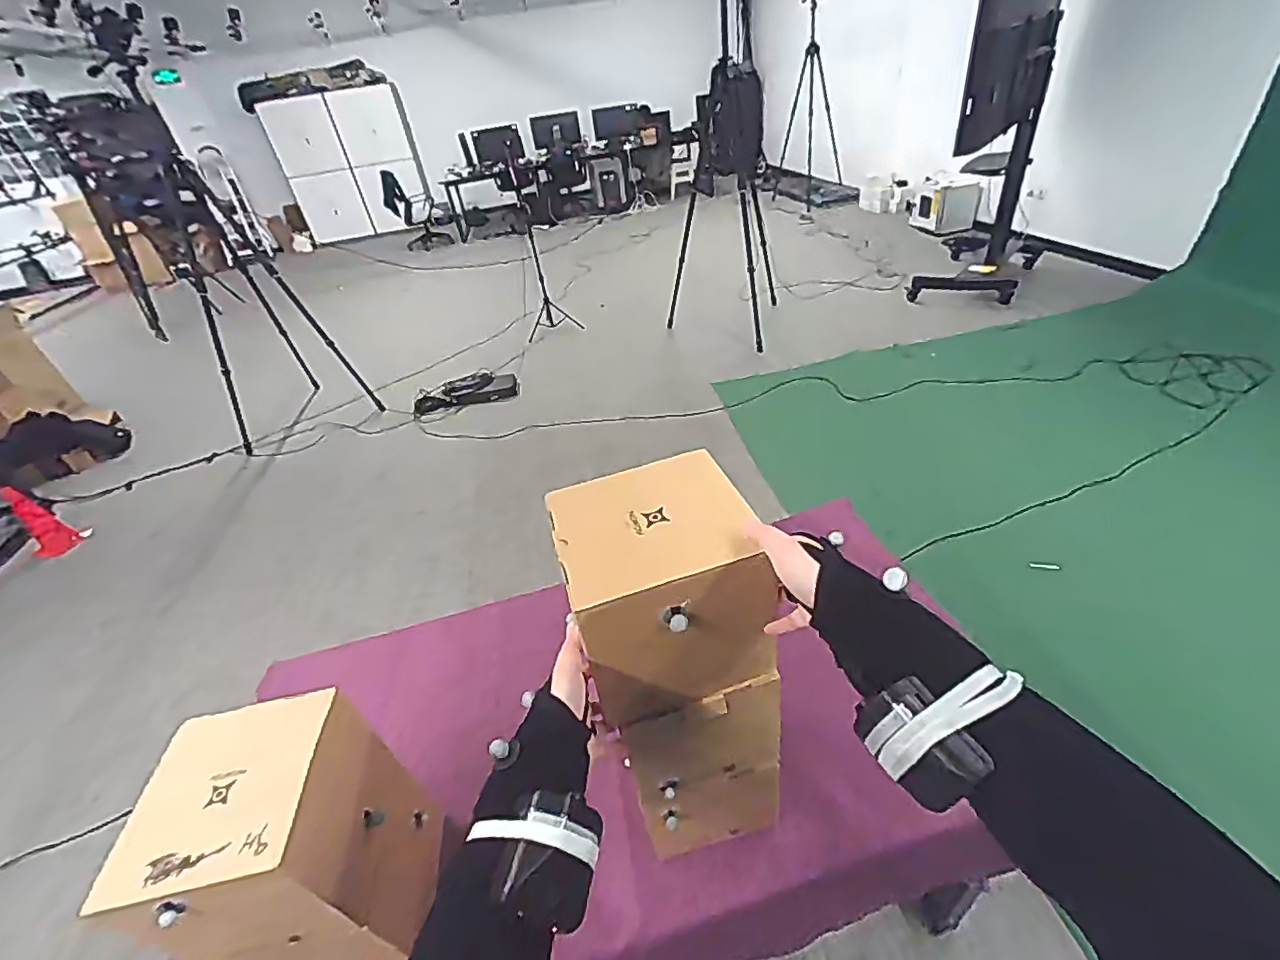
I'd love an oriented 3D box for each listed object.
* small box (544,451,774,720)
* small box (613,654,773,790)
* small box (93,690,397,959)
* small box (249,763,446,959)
[{"bbox_3d":[0.018,0.101,0.538,0.179,0.176,0.168,-18,36,-7],"label":"small box"},{"bbox_3d":[0.047,0.231,0.633,0.168,0.176,0.179,-16,35,-7],"label":"small box"},{"bbox_3d":[-0.379,0.360,0.567,0.168,0.176,0.179,-14,36,-2],"label":"small box"},{"bbox_3d":[-0.354,0.490,0.666,0.168,0.176,0.179,-13,37,-2],"label":"small box"}]
